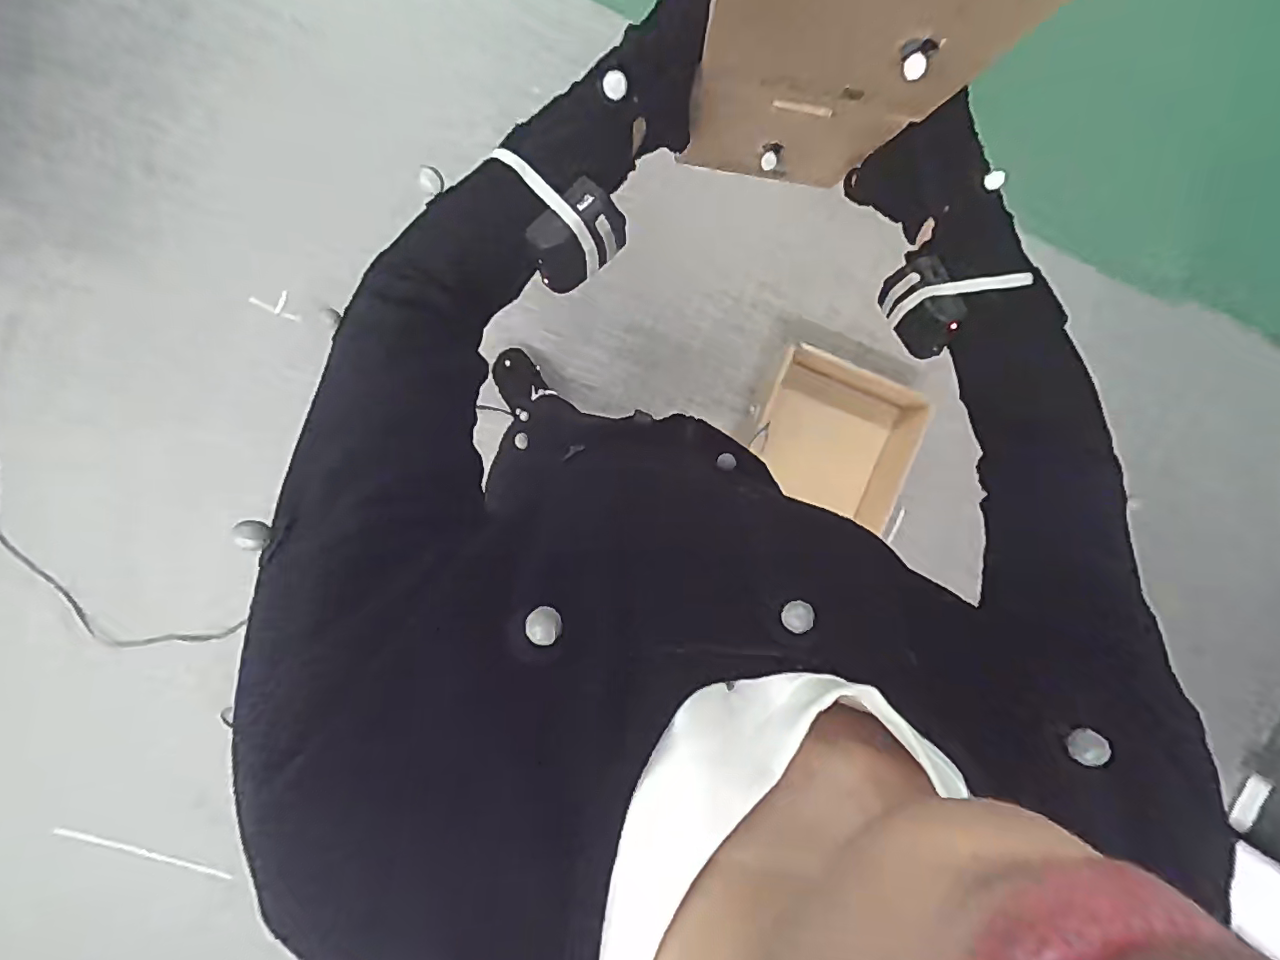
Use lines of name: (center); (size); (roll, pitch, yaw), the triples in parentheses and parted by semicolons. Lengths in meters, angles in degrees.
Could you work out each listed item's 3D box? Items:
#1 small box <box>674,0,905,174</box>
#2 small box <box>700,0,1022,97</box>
small box: (0.119, -0.376, 0.449); (0.168, 0.176, 0.179); (4, 103, -1)
small box: (0.128, -0.332, 0.272); (0.168, 0.176, 0.179); (7, 103, -3)
